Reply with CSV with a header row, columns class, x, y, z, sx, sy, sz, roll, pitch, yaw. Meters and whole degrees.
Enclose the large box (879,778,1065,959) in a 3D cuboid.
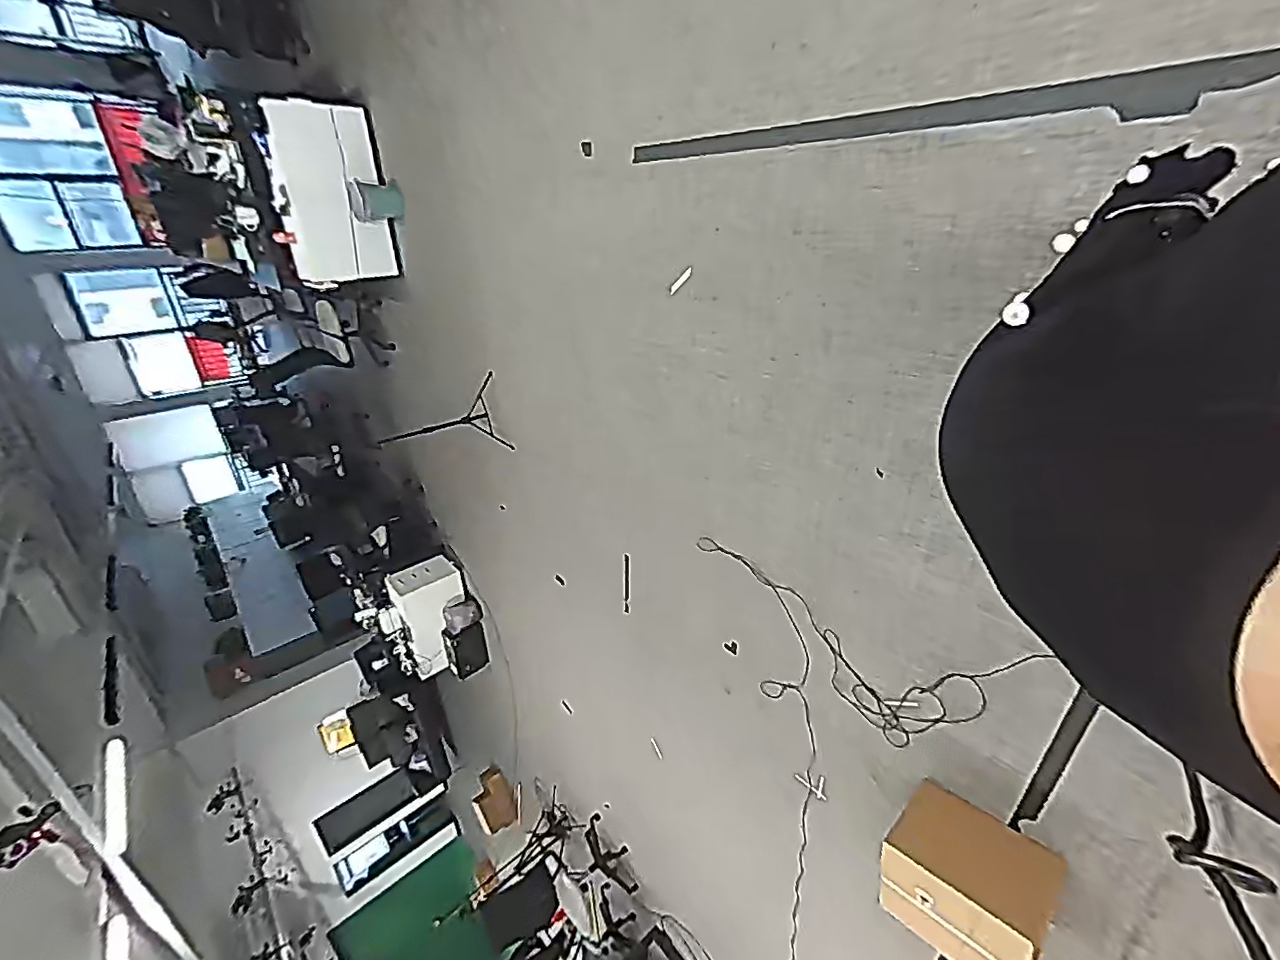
class,x,y,z,sx,sy,sz,roll,pitch,yaw
large box,1.016,1.241,1.677,0.408,0.320,0.320,18,122,47
